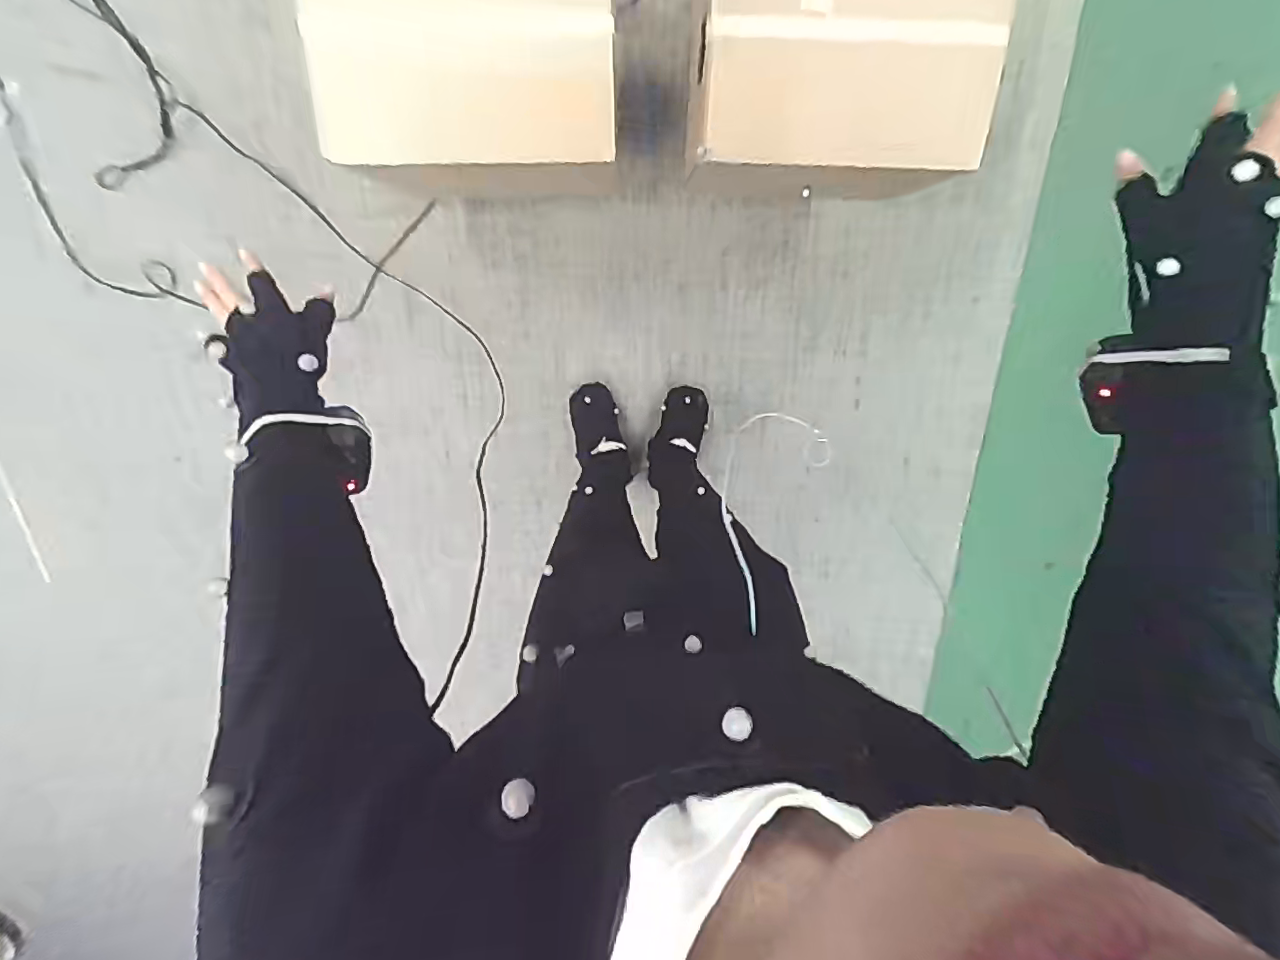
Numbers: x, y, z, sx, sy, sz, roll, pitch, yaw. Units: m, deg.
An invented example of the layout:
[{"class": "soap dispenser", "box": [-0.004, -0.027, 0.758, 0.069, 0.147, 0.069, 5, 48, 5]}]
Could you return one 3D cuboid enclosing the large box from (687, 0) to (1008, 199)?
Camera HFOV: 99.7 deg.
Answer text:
[{"class": "large box", "box": [0.298, -0.652, 0.886, 0.408, 0.320, 0.320, 1, 109, -1]}]
